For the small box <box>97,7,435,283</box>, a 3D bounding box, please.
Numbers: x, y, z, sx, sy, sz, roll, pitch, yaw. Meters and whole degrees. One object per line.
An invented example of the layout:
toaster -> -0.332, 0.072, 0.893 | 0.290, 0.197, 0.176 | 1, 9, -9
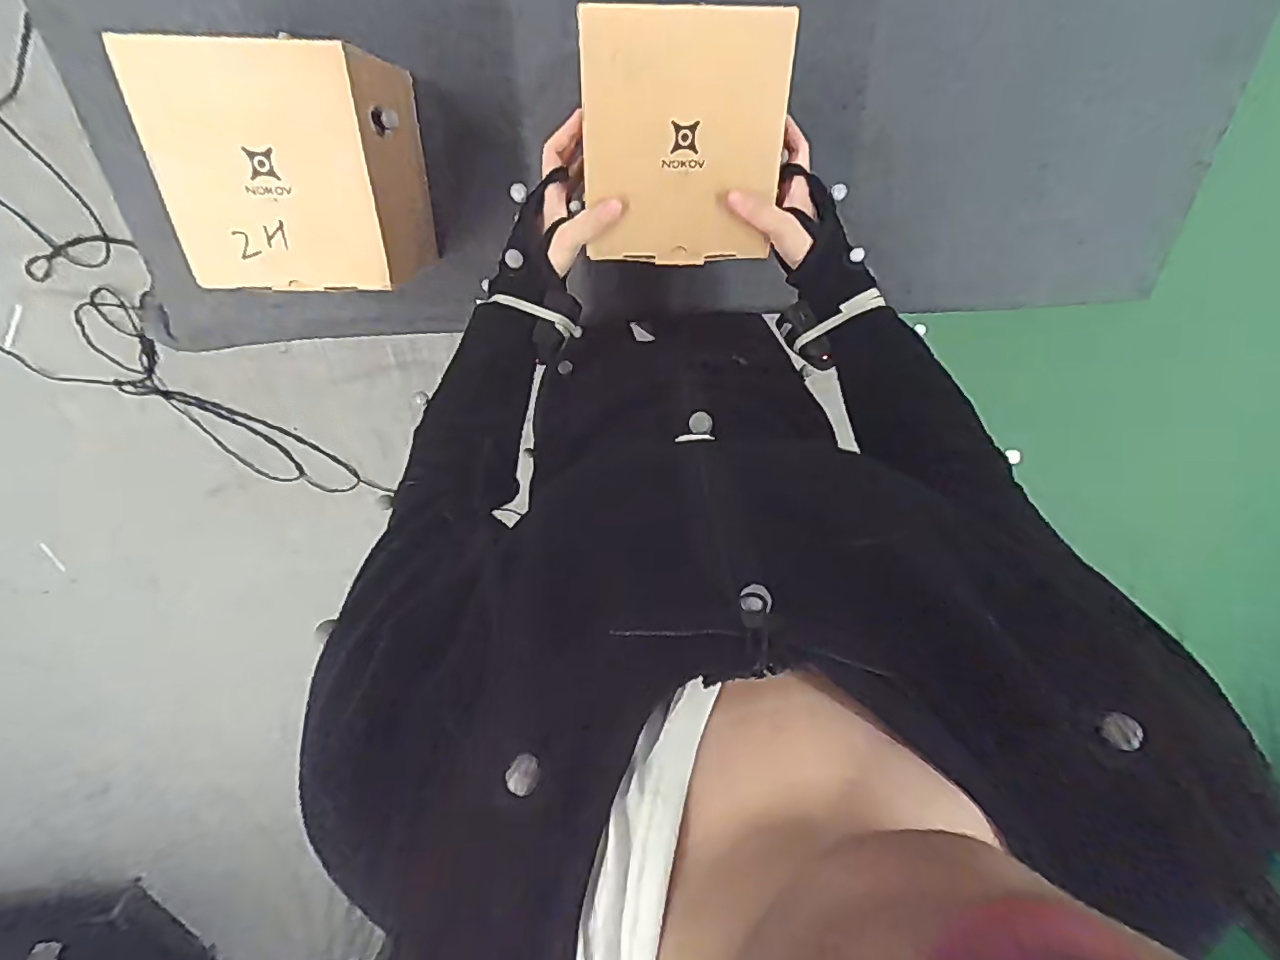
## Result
small box -> -0.295, -0.282, 0.480 | 0.168, 0.176, 0.179 | -1, 120, -5
